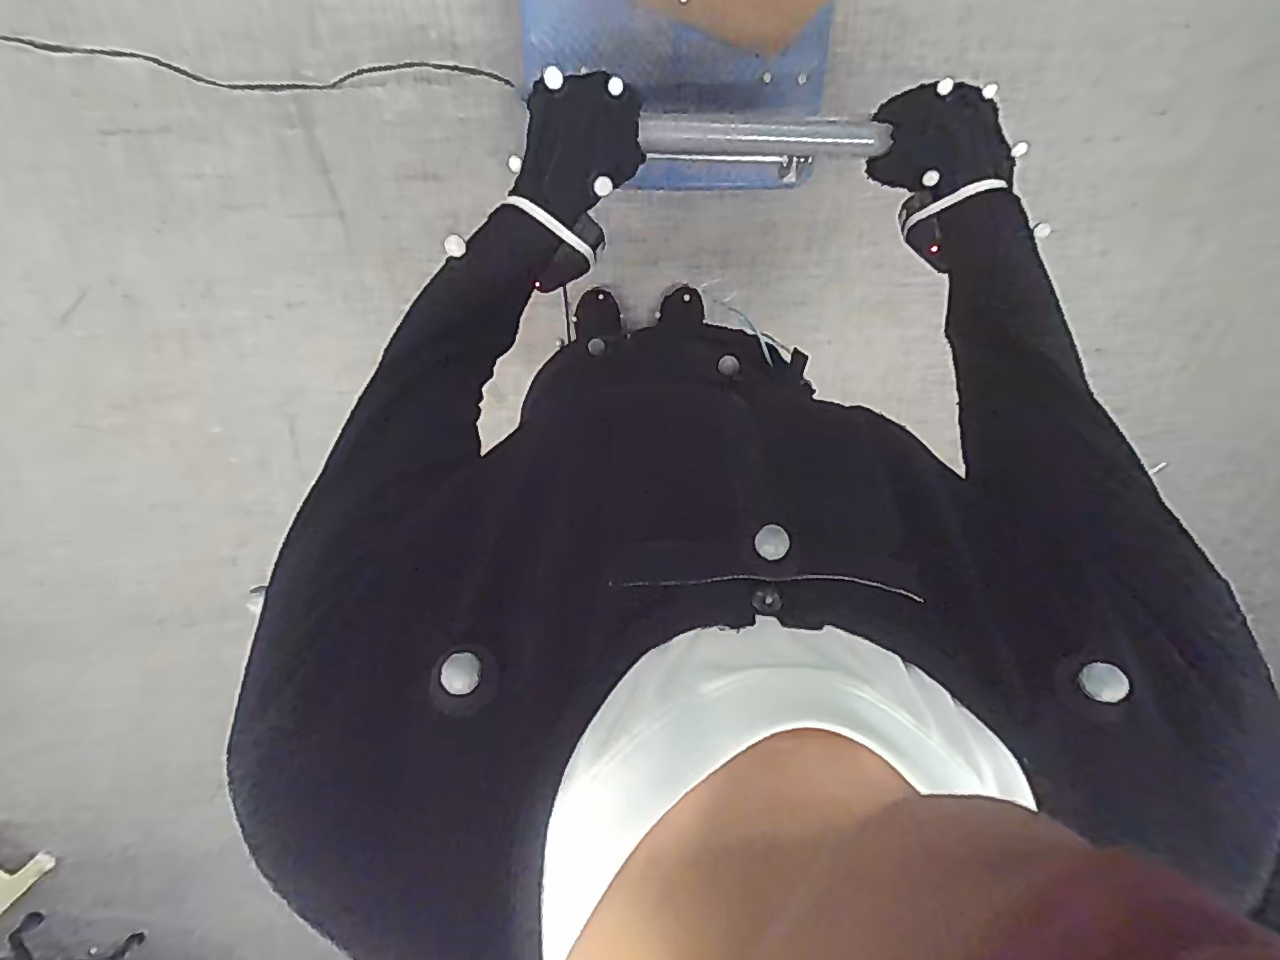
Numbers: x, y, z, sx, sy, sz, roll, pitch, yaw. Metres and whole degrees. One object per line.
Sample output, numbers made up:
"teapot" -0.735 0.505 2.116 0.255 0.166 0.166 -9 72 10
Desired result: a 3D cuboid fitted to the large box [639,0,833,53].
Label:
"large box" 0.128 -0.921 0.804 0.408 0.320 0.320 15 112 -9
